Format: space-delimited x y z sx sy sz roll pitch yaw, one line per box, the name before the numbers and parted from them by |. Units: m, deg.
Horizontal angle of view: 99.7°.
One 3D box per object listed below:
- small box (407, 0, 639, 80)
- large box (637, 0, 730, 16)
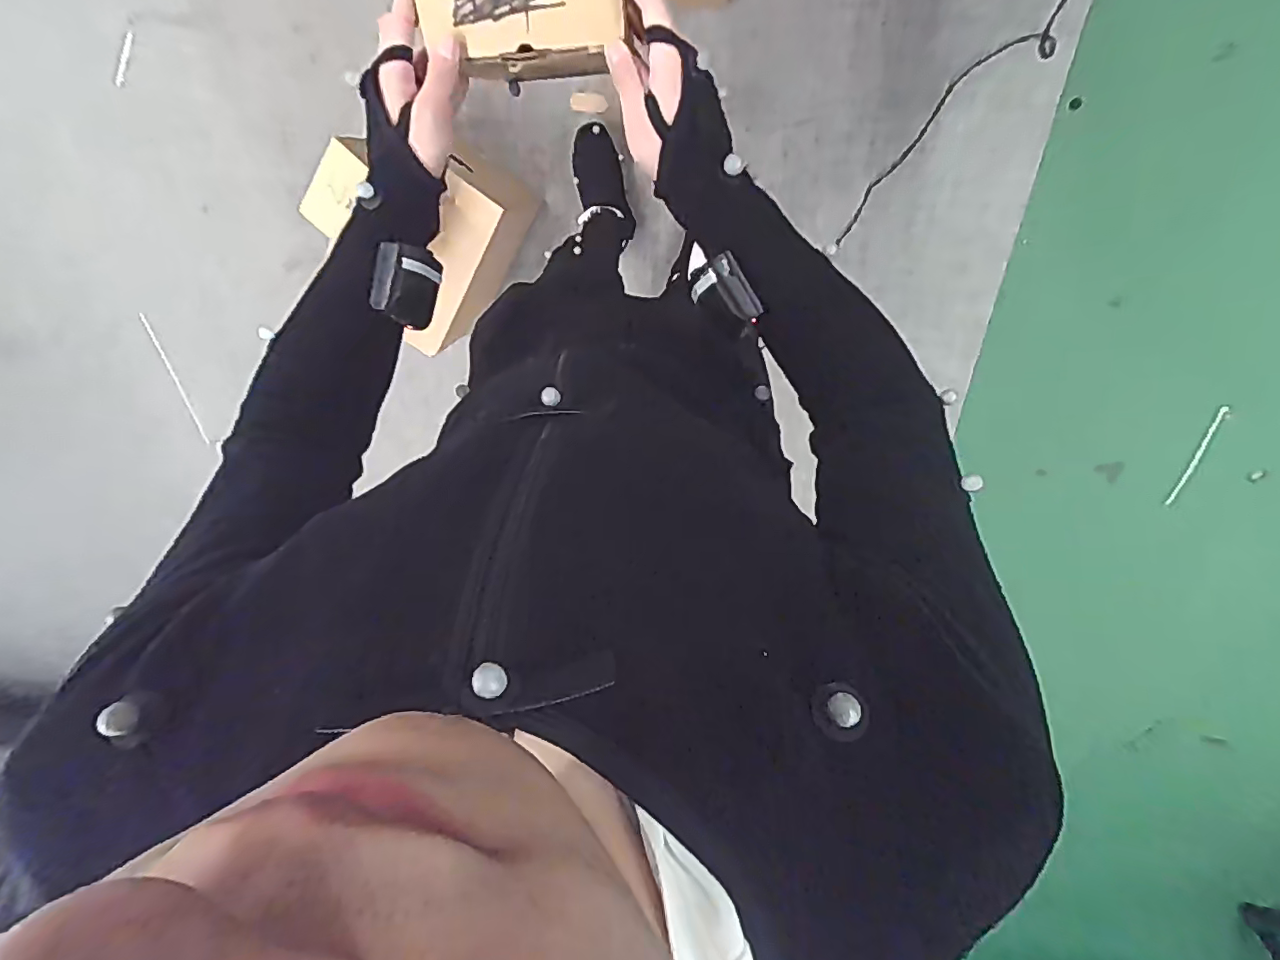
small box | -0.093 -0.451 0.452 0.168 0.176 0.179 -1 121 6
large box | 0.009 -1.099 0.940 0.320 0.320 0.408 2 120 7
